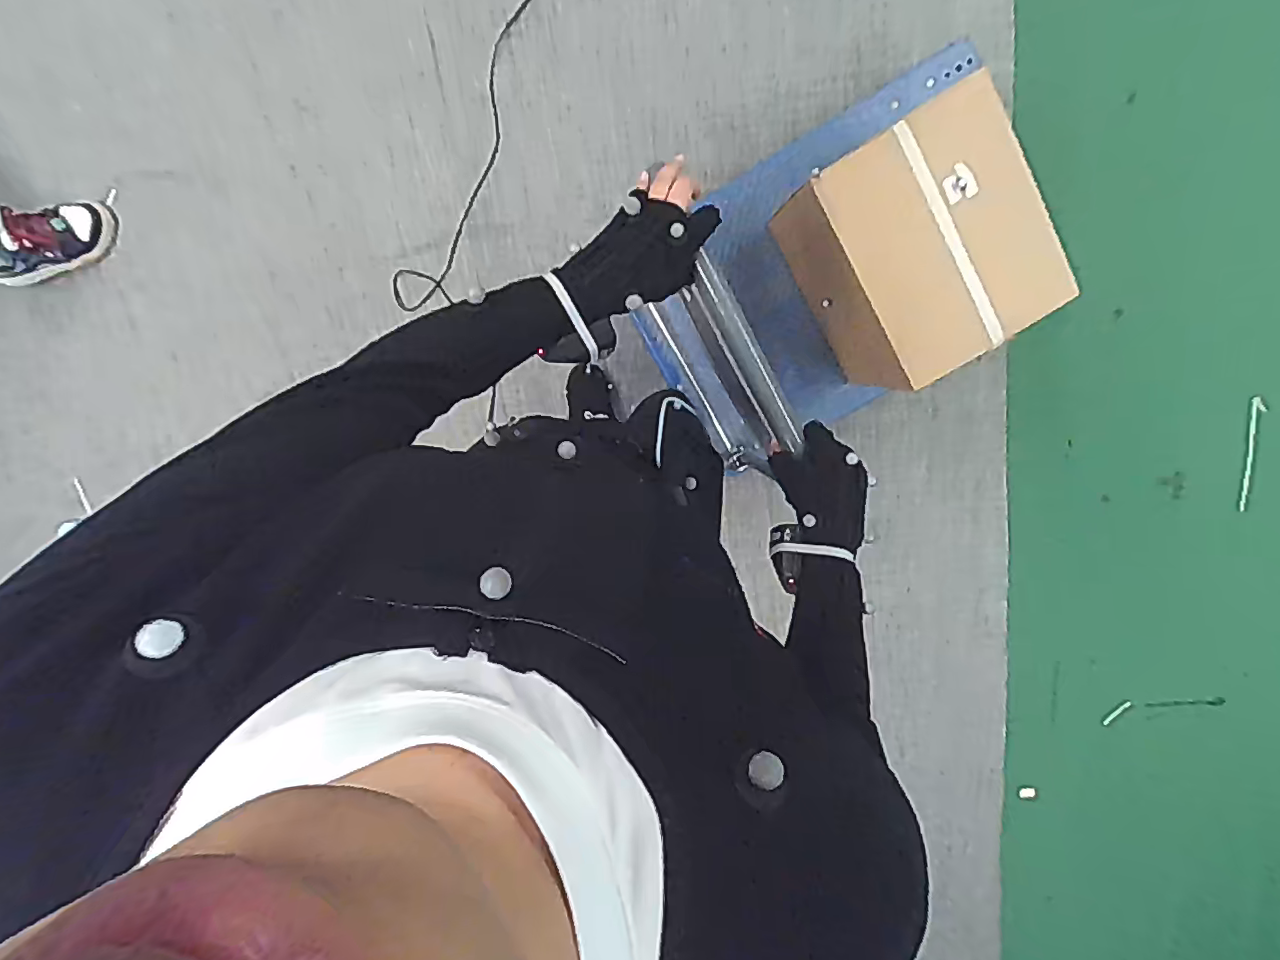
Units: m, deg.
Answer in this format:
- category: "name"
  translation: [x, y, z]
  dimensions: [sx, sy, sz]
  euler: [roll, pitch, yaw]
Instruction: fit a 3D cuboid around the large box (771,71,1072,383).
- category: "large box"
  translation: [0.511, -0.443, 1.054]
  dimensions: [0.320, 0.320, 0.408]
  euler: [-31, 101, 6]
